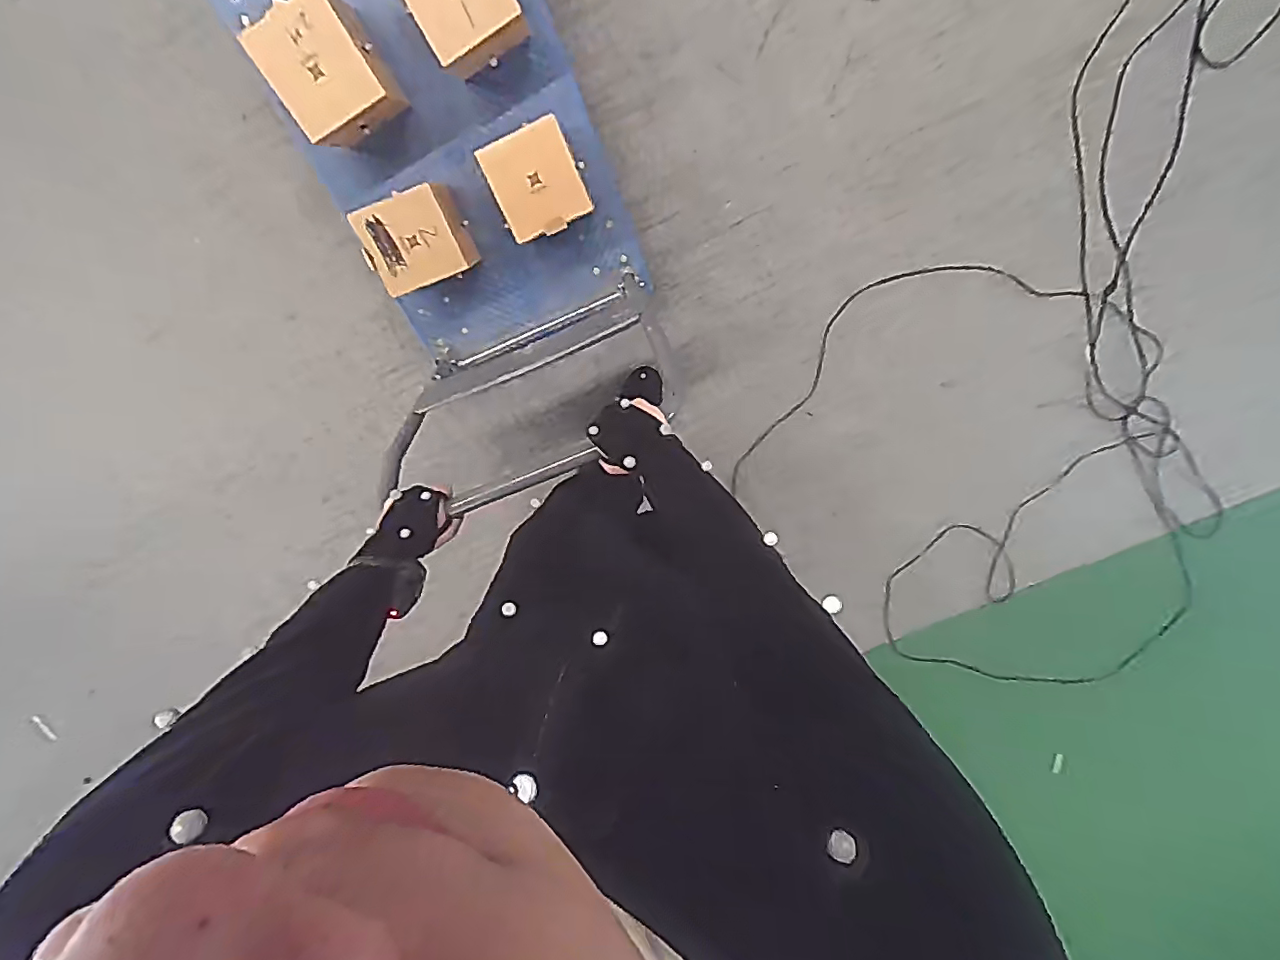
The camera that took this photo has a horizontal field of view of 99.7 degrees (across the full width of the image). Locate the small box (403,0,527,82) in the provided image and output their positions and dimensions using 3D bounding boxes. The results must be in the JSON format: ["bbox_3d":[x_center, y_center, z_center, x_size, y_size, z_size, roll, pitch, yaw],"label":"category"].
[{"bbox_3d":[-0.317,-0.846,0.951,0.168,0.176,0.179,-26,119,9],"label":"small box"}]

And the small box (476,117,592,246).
[{"bbox_3d":[-0.209,-0.600,1.099,0.168,0.176,0.179,-22,120,6],"label":"small box"}]

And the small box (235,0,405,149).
[{"bbox_3d":[-0.564,-0.734,0.985,0.168,0.176,0.179,-27,118,8],"label":"small box"}]
